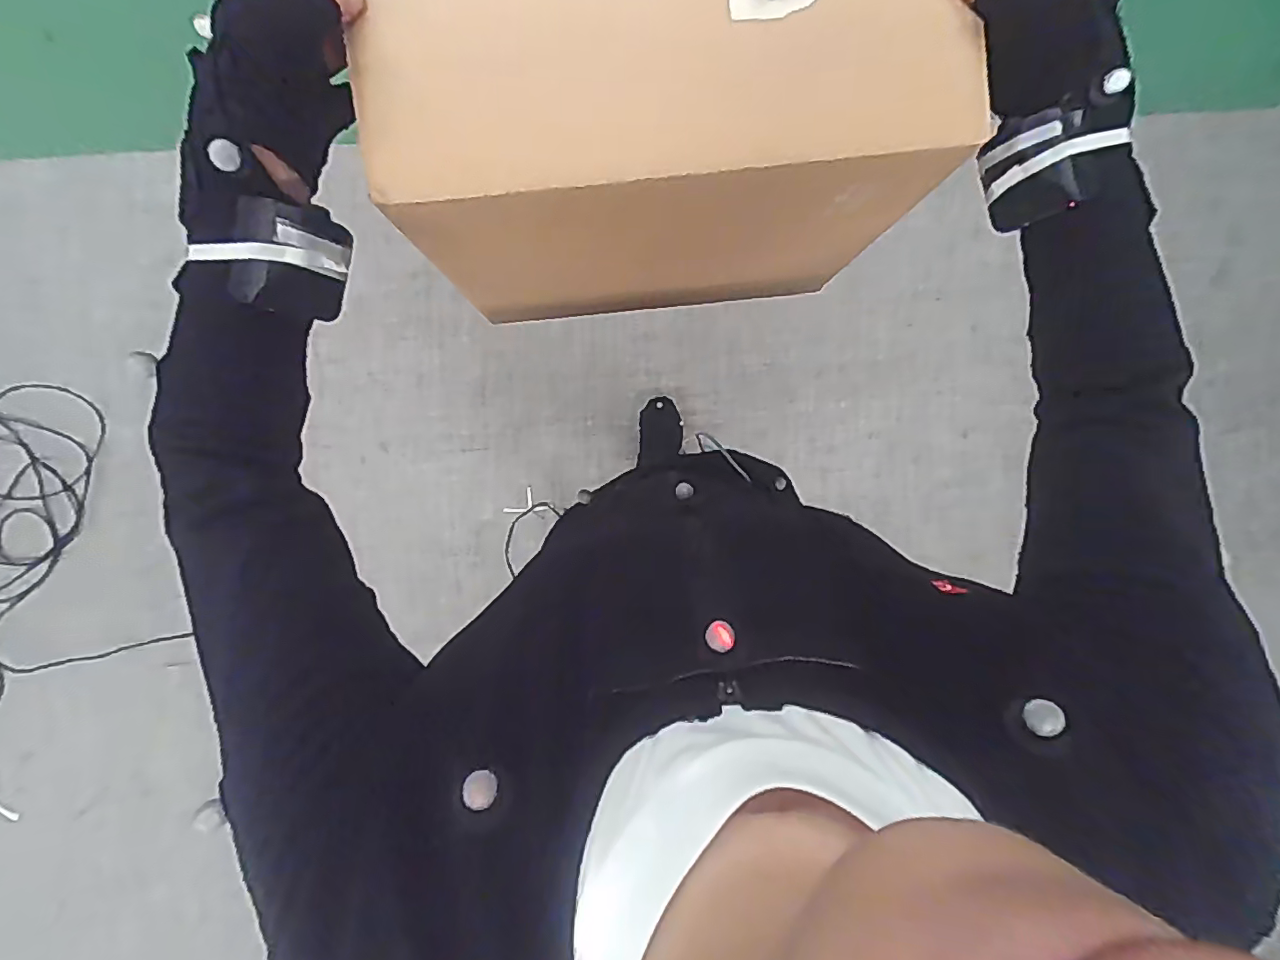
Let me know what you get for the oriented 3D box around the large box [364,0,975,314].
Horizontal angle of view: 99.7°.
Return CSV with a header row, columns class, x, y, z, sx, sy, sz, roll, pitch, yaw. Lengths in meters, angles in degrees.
class,x,y,z,sx,sy,sz,roll,pitch,yaw
large box,0.008,-0.369,0.504,0.408,0.320,0.320,-7,93,-1
